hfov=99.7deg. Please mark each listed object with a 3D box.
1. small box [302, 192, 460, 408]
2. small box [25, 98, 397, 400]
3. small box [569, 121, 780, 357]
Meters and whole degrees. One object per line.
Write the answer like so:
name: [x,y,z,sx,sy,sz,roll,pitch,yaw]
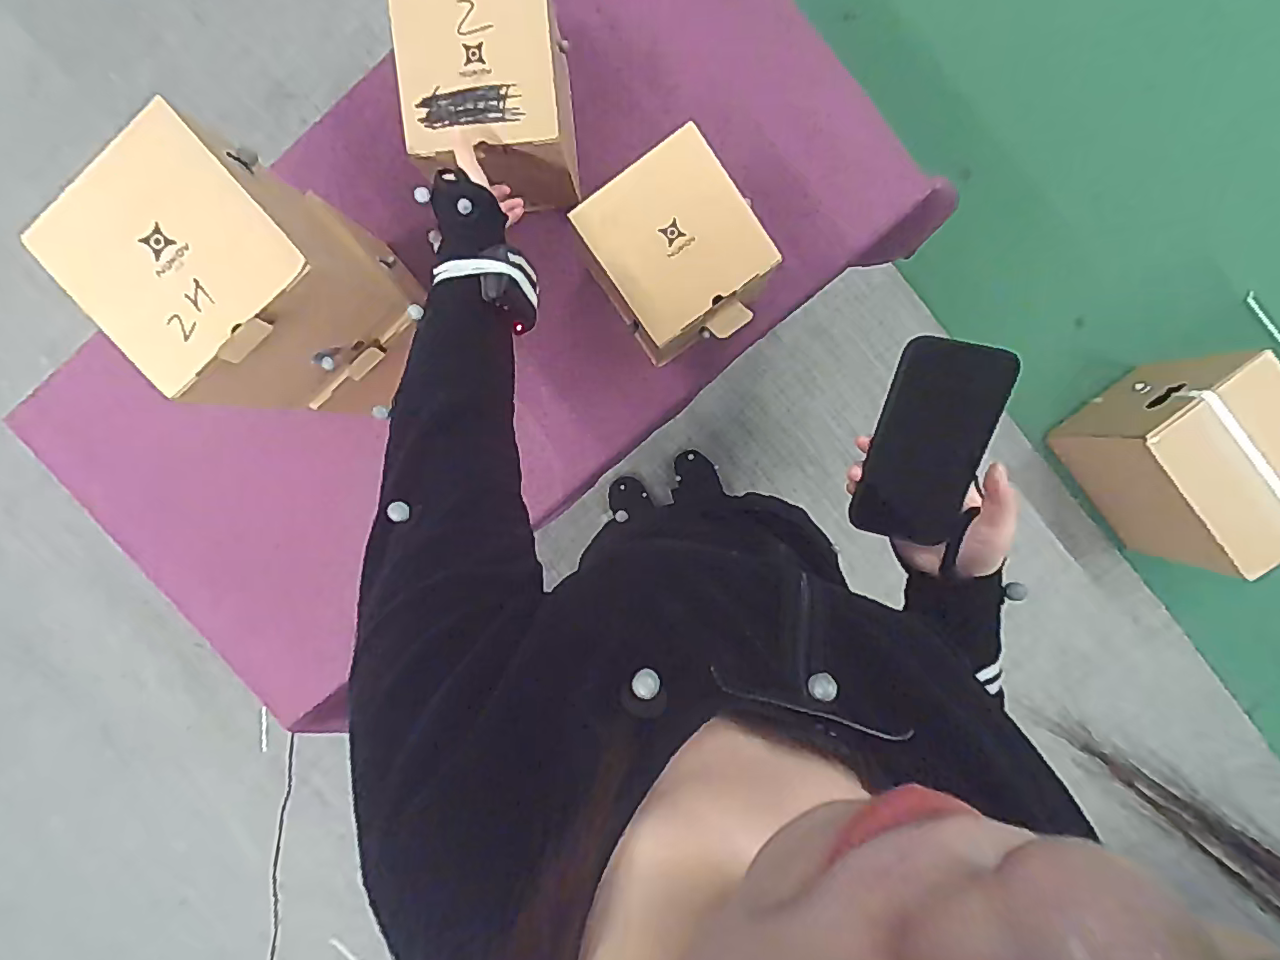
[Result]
small box: [-0.359,-0.206,0.676,0.168,0.176,0.179,-40,93,4]
small box: [-0.377,-0.192,0.512,0.168,0.176,0.179,-41,93,5]
small box: [0.038,-0.271,0.657,0.168,0.176,0.179,-35,94,5]
